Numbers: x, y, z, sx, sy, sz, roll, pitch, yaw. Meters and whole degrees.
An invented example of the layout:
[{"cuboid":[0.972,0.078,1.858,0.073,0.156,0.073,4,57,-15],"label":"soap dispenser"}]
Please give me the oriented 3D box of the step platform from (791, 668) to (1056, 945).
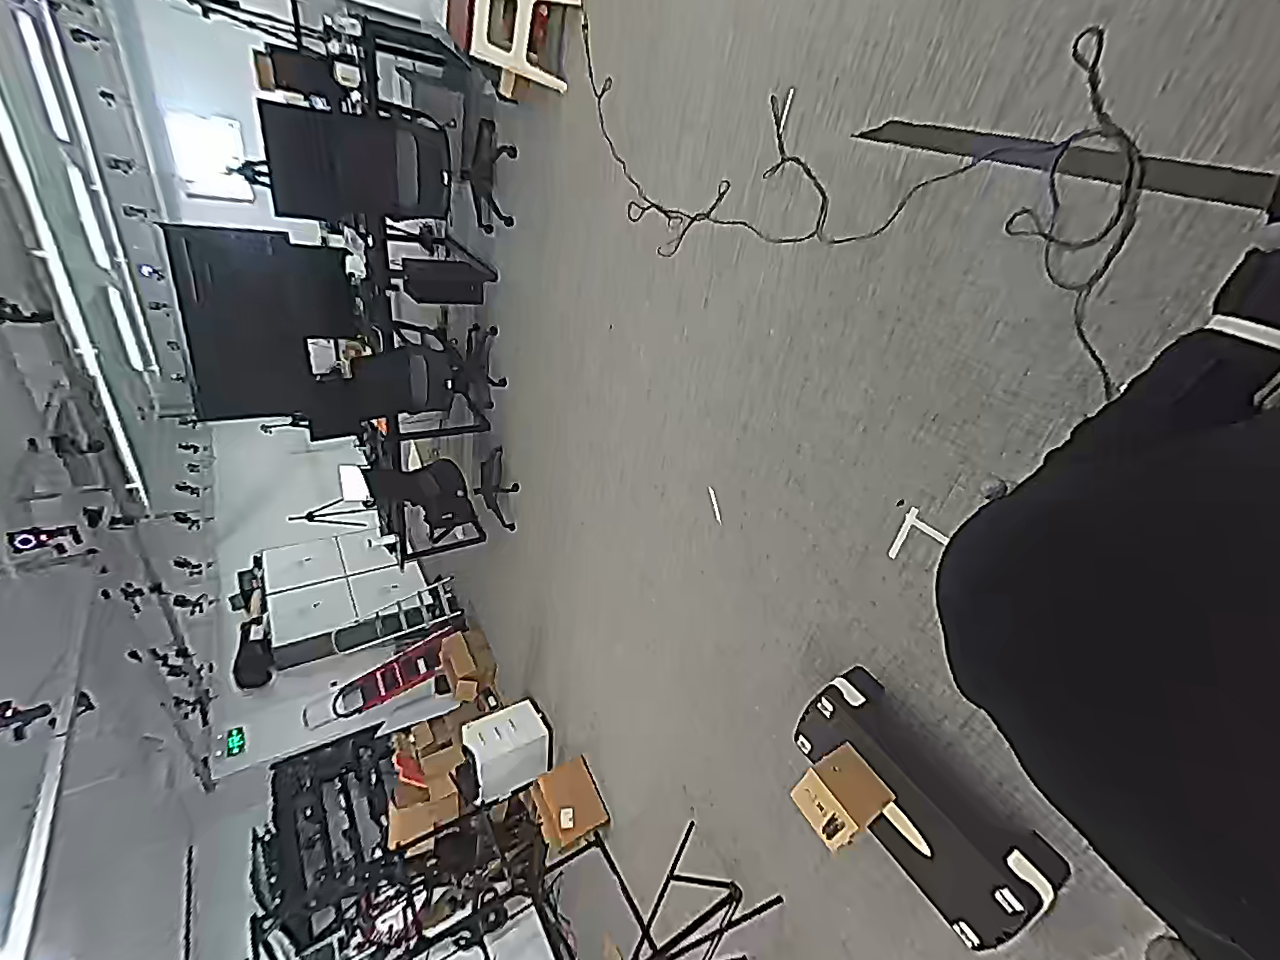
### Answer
[{"cuboid":[0.758,0.900,1.557,0.684,0.204,0.286,44,135,40],"label":"step platform"}]
